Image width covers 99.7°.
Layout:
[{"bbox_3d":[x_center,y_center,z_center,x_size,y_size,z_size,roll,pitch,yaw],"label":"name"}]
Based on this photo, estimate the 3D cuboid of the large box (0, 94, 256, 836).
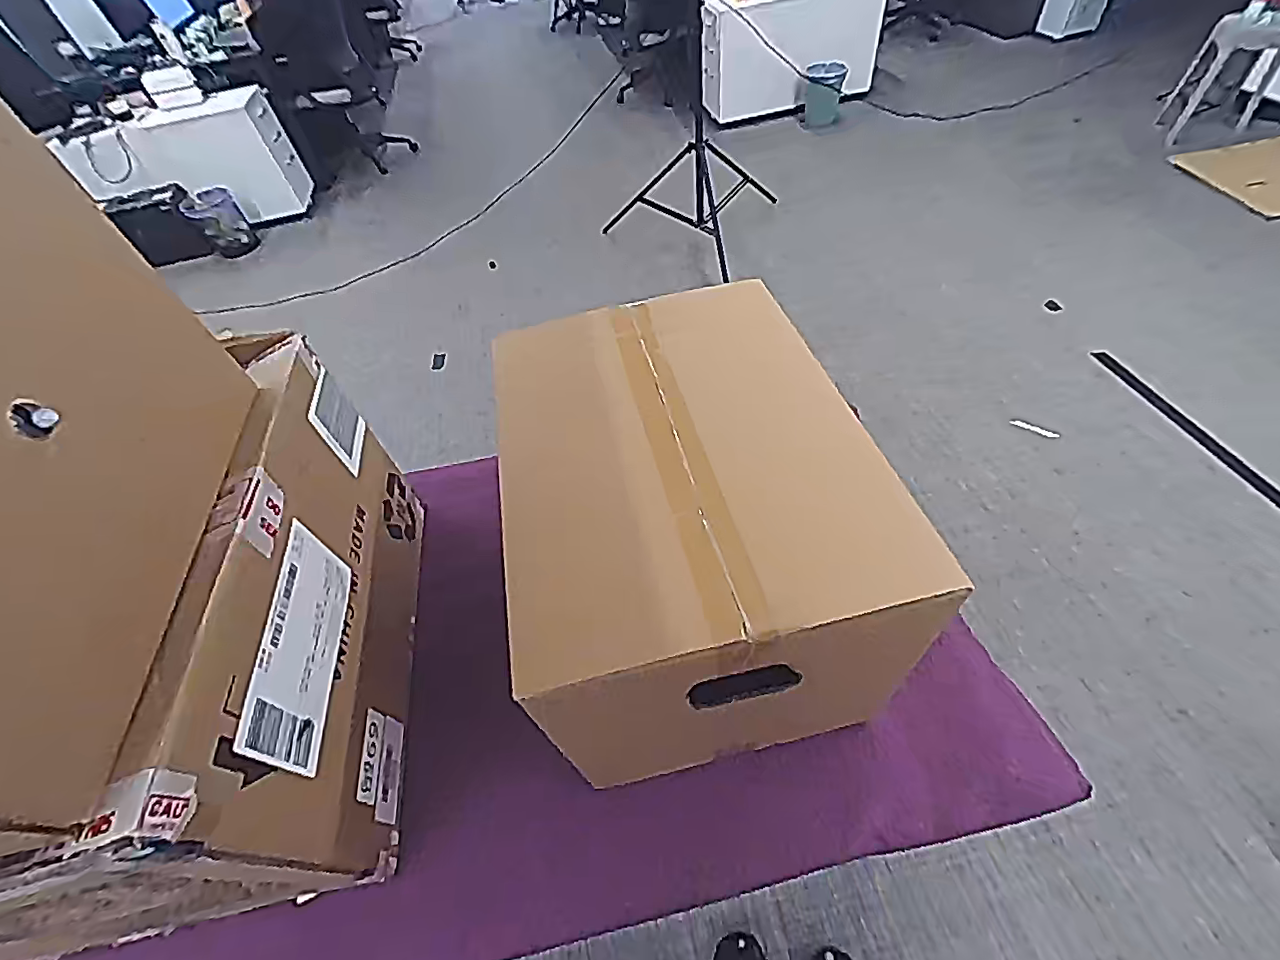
[{"bbox_3d":[-0.515,-0.009,0.324,0.320,0.320,0.408,-15,51,-2],"label":"large box"}]
